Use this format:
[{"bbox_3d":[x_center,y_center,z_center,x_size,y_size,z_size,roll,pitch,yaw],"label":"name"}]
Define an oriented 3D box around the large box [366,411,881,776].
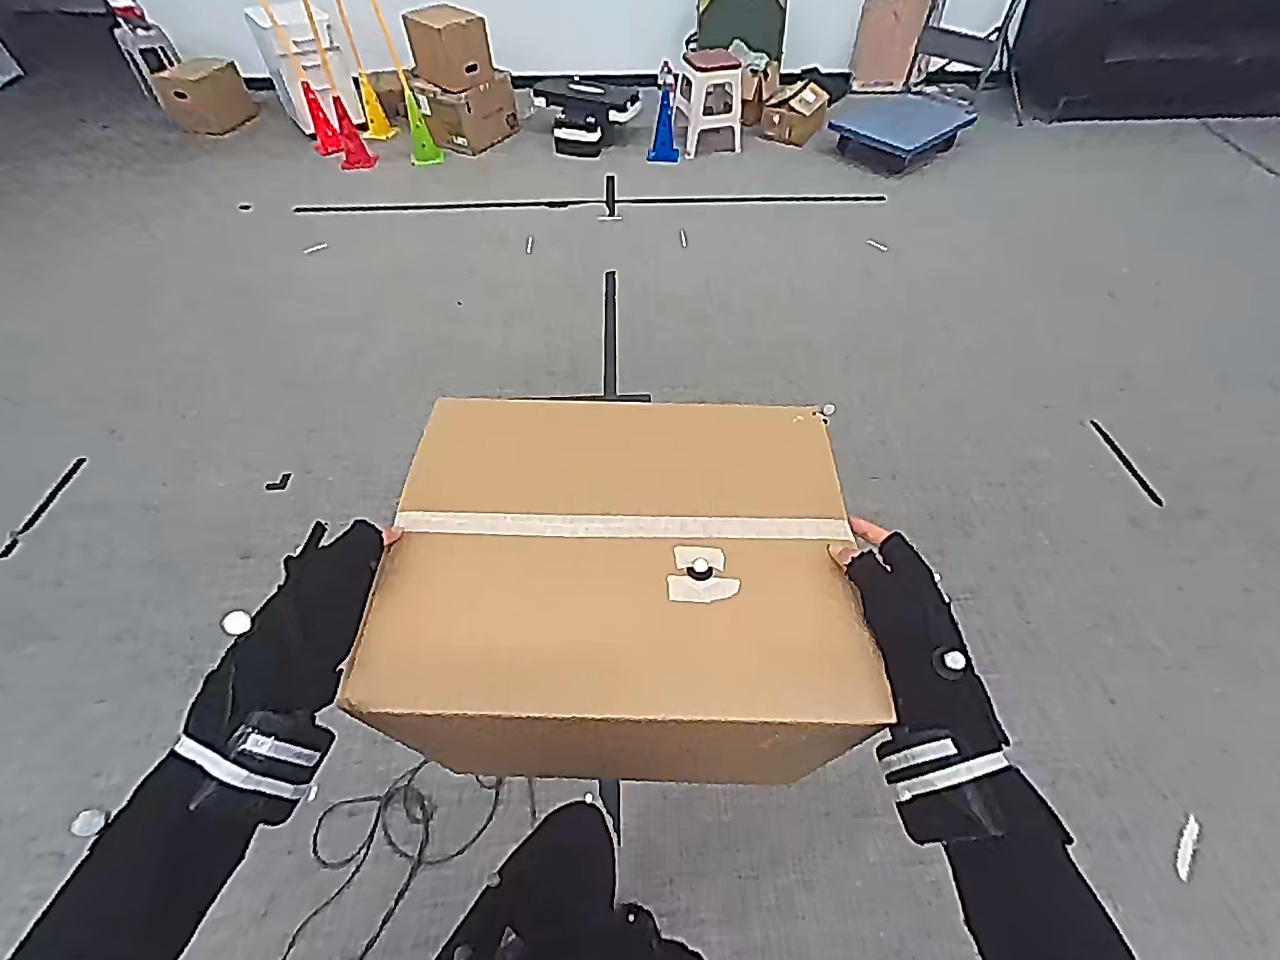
[{"bbox_3d":[-0.014,0.140,0.617,0.408,0.320,0.320,2,54,0],"label":"large box"}]
